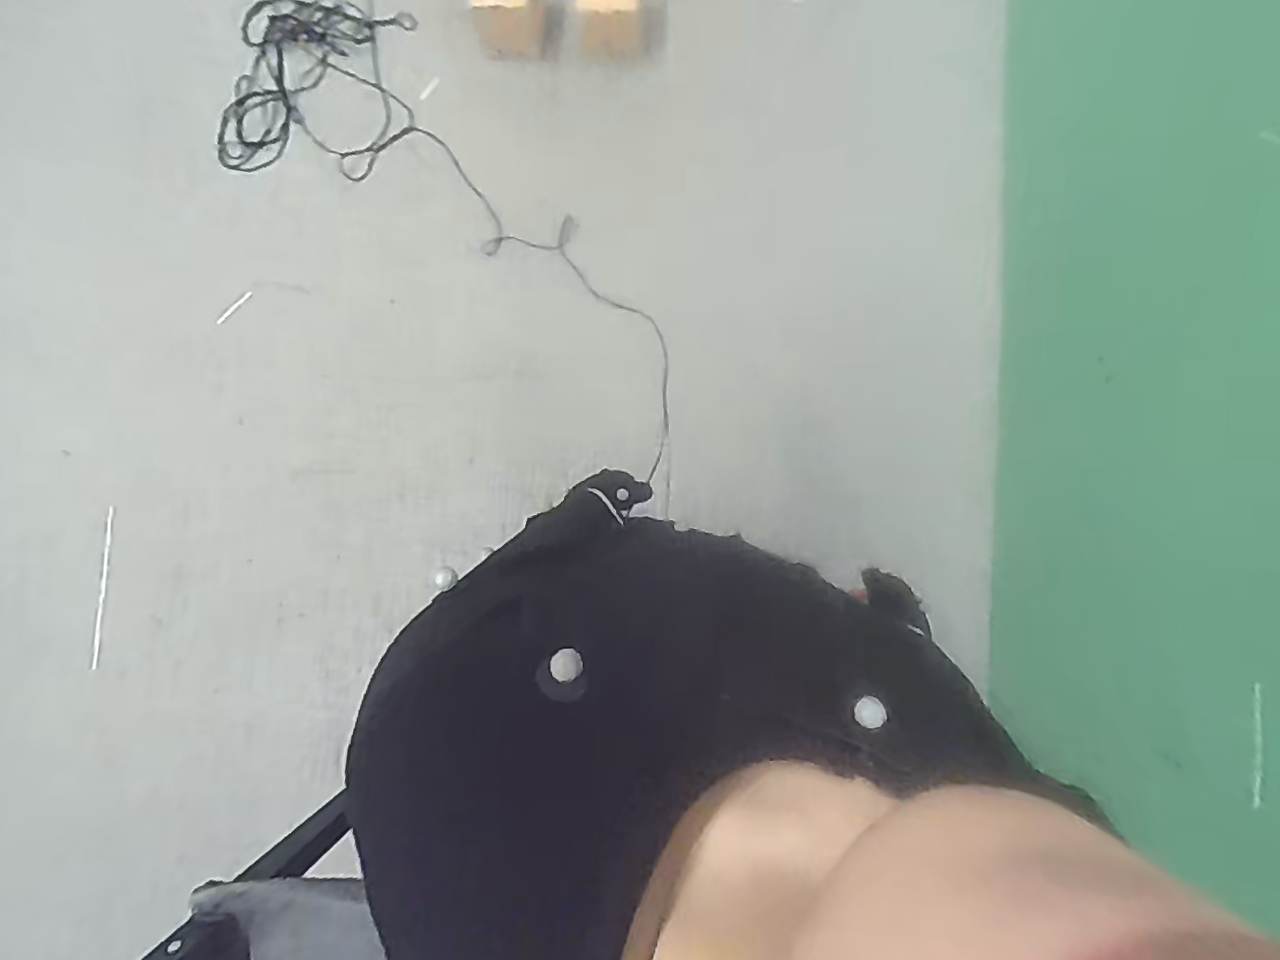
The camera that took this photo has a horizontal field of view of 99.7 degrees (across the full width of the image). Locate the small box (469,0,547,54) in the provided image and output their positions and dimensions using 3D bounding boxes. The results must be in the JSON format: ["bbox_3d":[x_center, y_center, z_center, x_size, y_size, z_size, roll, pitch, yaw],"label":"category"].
[{"bbox_3d":[-0.369,-1.364,1.540,0.168,0.176,0.179,6,86,4],"label":"small box"}]

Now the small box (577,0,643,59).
[{"bbox_3d":[-0.080,-1.338,1.521,0.168,0.176,0.179,1,87,4],"label":"small box"}]
